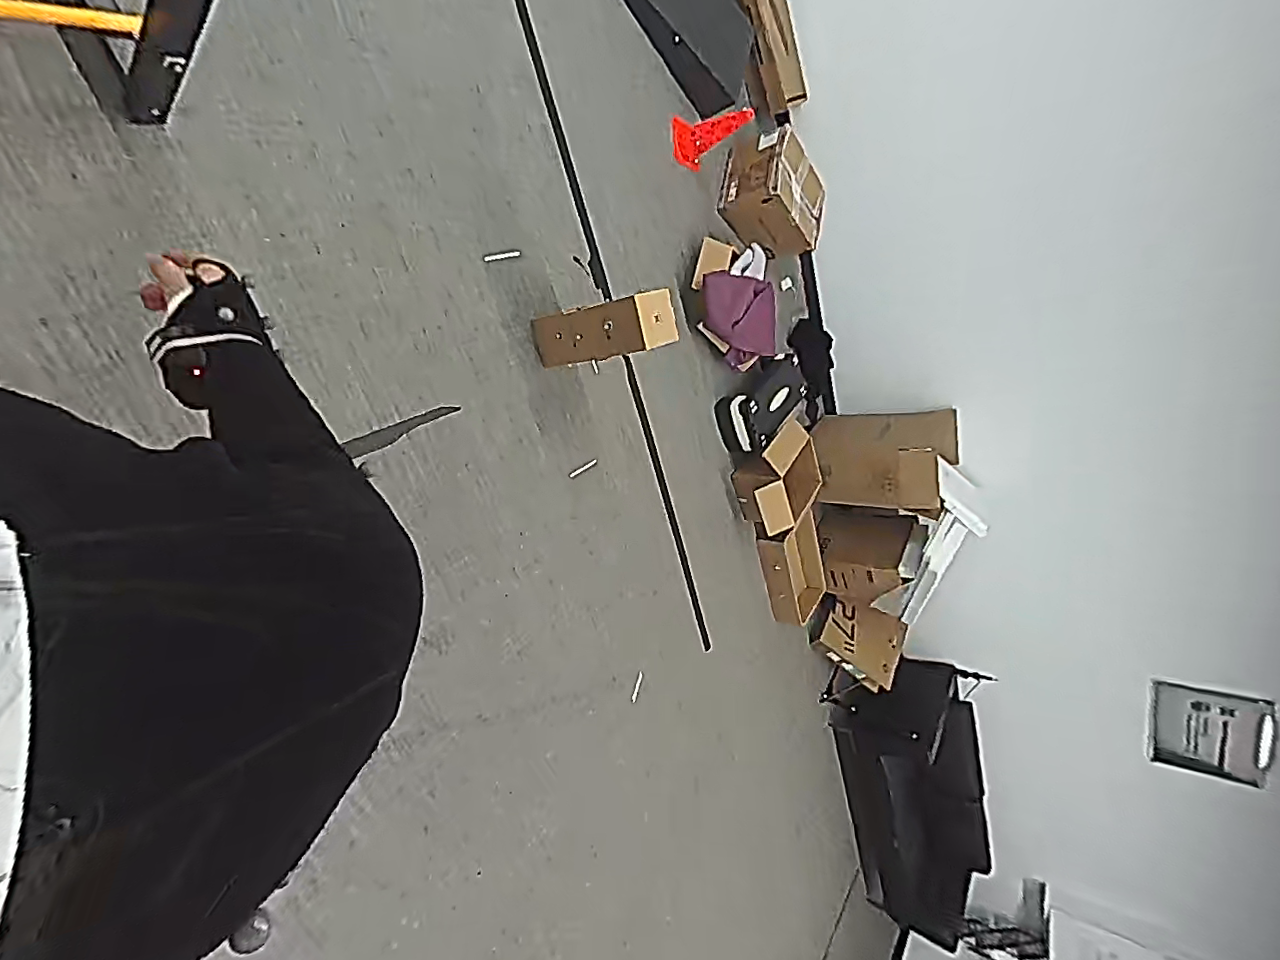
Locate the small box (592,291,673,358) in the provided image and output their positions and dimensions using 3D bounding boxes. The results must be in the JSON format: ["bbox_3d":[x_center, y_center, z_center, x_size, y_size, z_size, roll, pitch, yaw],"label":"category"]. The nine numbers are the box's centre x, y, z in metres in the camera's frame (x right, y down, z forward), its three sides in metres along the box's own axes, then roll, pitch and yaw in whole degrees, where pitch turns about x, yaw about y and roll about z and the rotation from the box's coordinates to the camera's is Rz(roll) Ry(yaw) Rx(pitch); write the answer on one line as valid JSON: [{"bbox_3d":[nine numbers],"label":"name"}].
[{"bbox_3d":[-0.023,-0.491,1.709,0.179,0.176,0.168,-31,113,-44],"label":"small box"}]

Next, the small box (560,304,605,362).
[{"bbox_3d":[-0.139,-0.502,1.823,0.179,0.176,0.168,-31,114,-44],"label":"small box"}]

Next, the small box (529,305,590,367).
[{"bbox_3d":[-0.269,-0.510,1.924,0.168,0.176,0.179,-31,115,-45],"label":"small box"}]
